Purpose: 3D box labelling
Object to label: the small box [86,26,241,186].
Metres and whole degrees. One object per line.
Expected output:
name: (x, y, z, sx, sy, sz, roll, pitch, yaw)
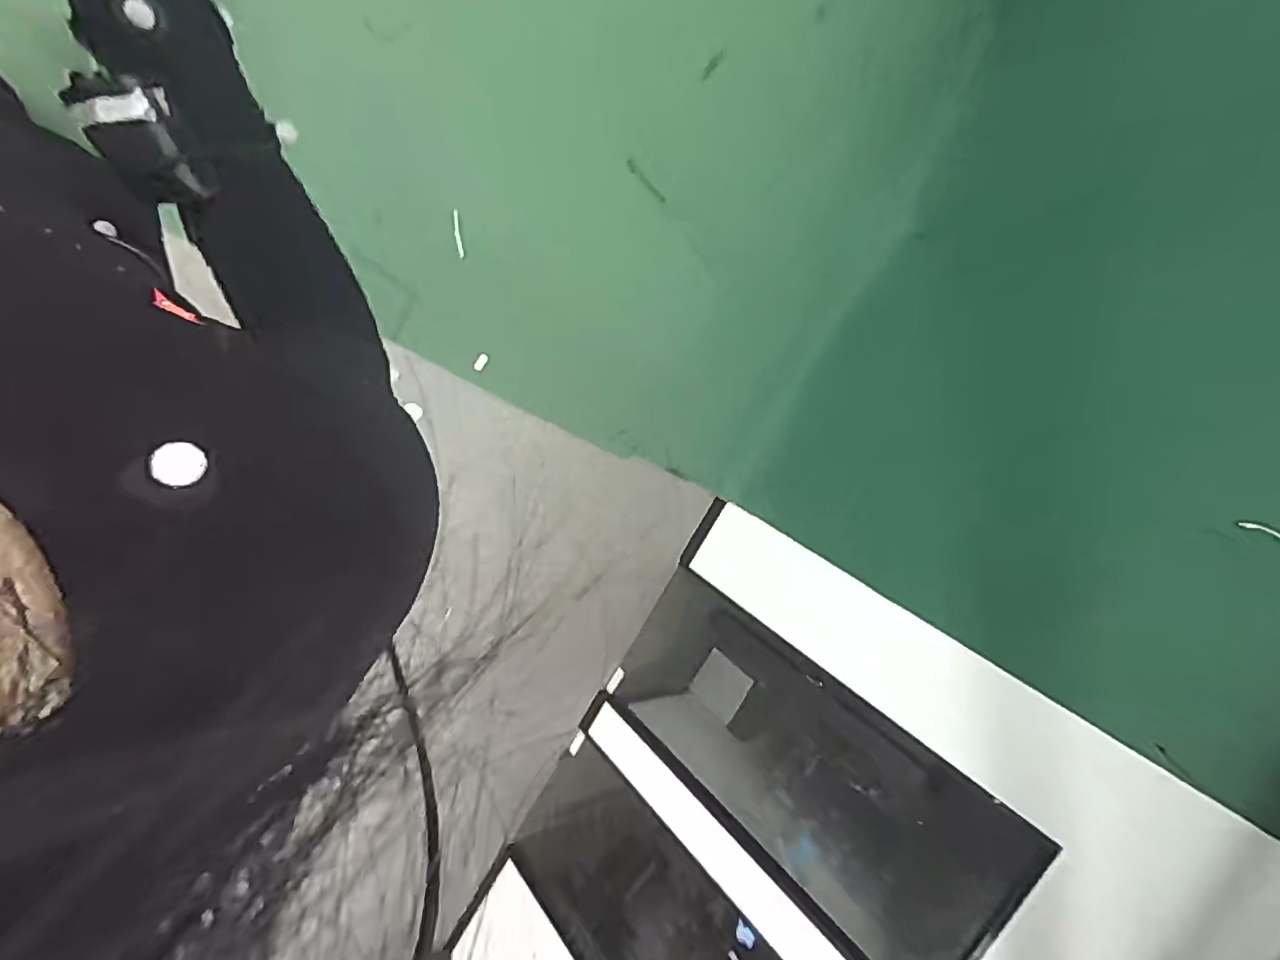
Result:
small box: (-0.825, -0.636, 0.933, 0.179, 0.176, 0.168, -1, 119, -51)
